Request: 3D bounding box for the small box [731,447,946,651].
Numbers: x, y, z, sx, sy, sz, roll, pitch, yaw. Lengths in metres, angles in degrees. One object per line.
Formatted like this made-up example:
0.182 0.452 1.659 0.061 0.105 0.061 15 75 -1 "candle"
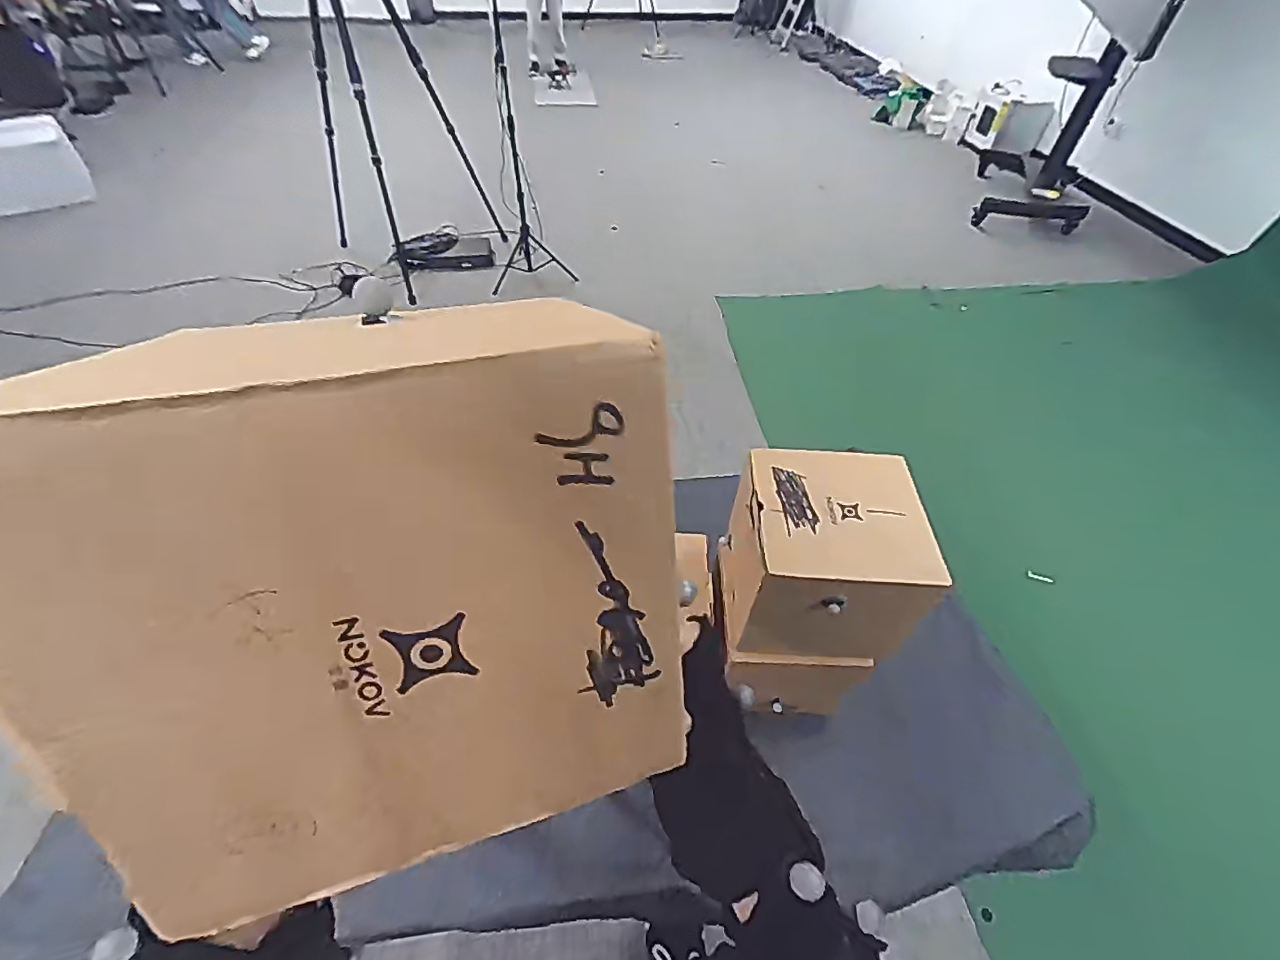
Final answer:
0.201 0.082 0.614 0.179 0.176 0.168 3 50 0 "small box"
